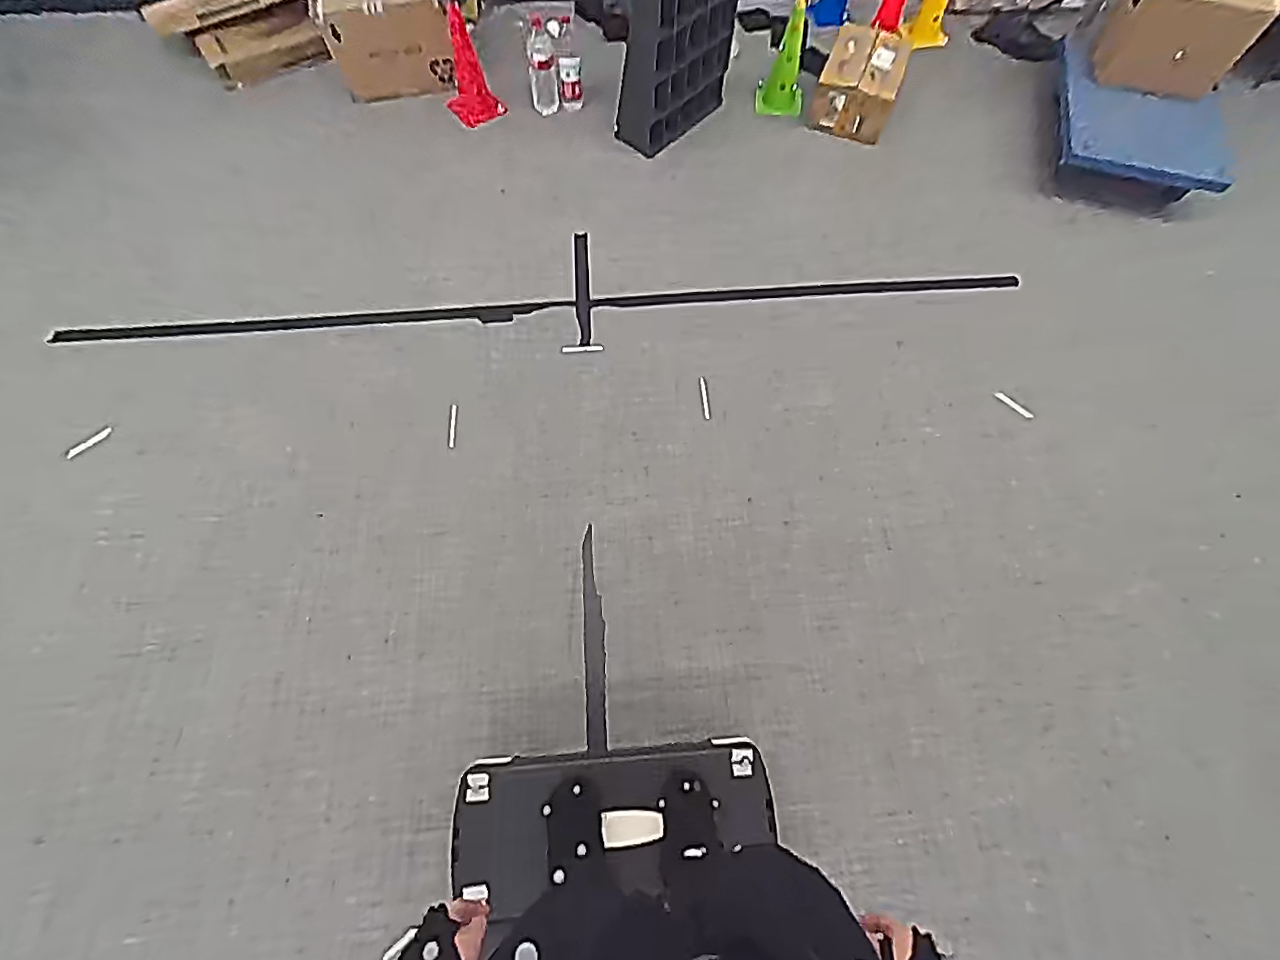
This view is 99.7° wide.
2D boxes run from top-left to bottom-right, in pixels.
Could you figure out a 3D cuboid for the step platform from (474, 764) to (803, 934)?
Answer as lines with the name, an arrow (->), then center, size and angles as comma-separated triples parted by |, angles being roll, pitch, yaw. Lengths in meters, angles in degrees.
step platform -> -0.003, 0.782, 1.172 | 0.684, 0.204, 0.286 | 1, 64, -2
